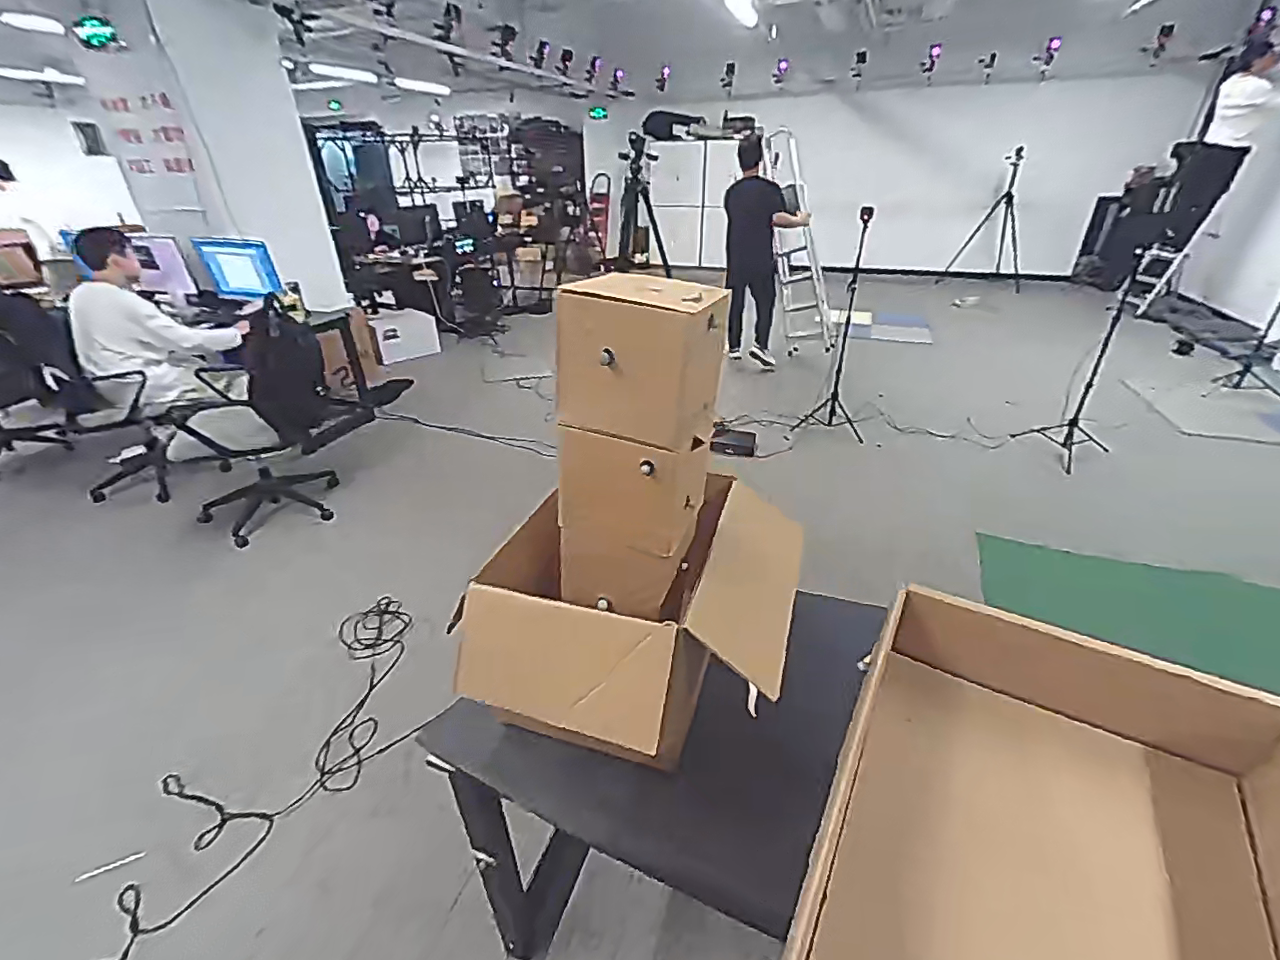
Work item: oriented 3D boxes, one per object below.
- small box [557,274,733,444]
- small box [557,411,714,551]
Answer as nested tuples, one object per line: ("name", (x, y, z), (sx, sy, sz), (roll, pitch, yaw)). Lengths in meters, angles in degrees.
("small box", (0.006, -0.162, 0.709), (0.179, 0.176, 0.168), (16, 32, 18))
("small box", (-0.008, -0.020, 0.791), (0.179, 0.176, 0.168), (15, 32, 16))
